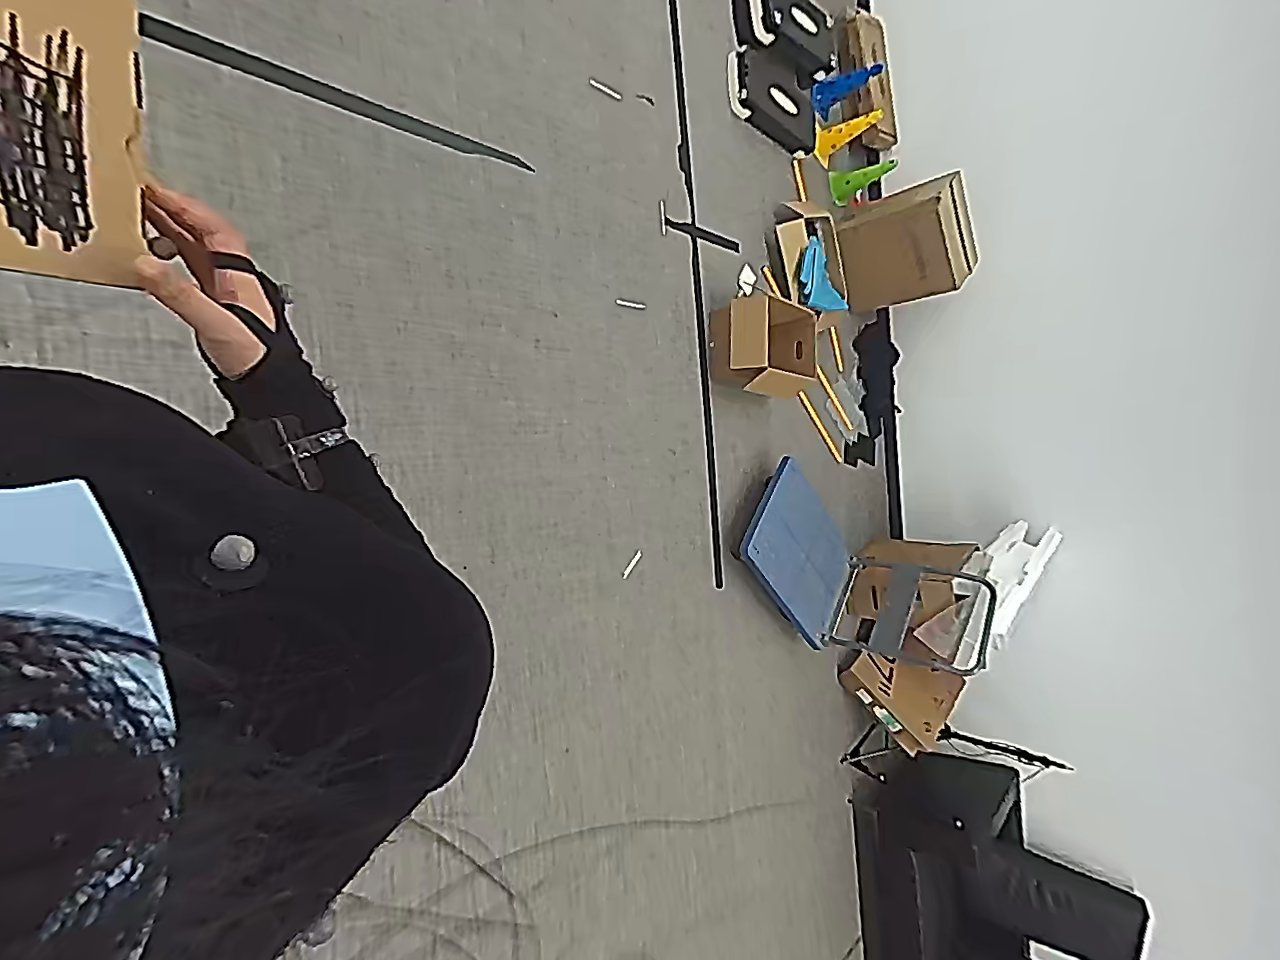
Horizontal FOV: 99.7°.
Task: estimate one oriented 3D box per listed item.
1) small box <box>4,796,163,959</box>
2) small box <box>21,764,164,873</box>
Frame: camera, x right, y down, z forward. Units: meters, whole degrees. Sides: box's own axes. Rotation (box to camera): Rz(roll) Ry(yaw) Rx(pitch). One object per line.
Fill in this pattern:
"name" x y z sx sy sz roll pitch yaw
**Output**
"small box" -0.912 0.672 0.898 0.168 0.176 0.179 -7 93 -44
"small box" -1.023 0.667 1.018 0.168 0.176 0.179 -10 96 -43
